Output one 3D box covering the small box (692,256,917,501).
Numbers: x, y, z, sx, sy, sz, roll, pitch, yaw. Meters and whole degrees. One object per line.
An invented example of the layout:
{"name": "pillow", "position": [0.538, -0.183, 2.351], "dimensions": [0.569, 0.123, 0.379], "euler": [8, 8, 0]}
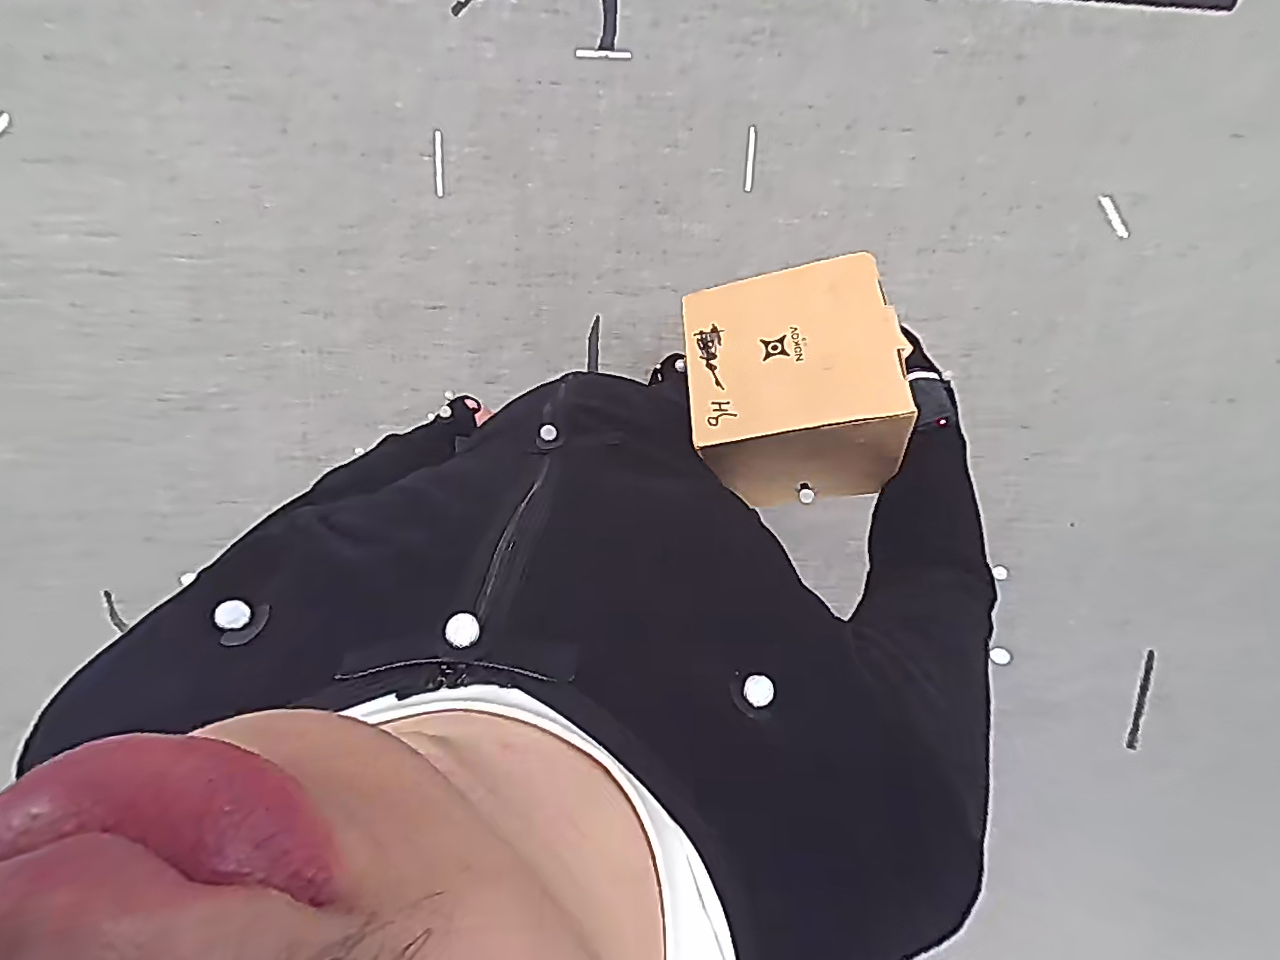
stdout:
{"name": "small box", "position": [0.157, -0.088, 0.551], "dimensions": [0.179, 0.176, 0.168], "euler": [-8, 65, 14]}
